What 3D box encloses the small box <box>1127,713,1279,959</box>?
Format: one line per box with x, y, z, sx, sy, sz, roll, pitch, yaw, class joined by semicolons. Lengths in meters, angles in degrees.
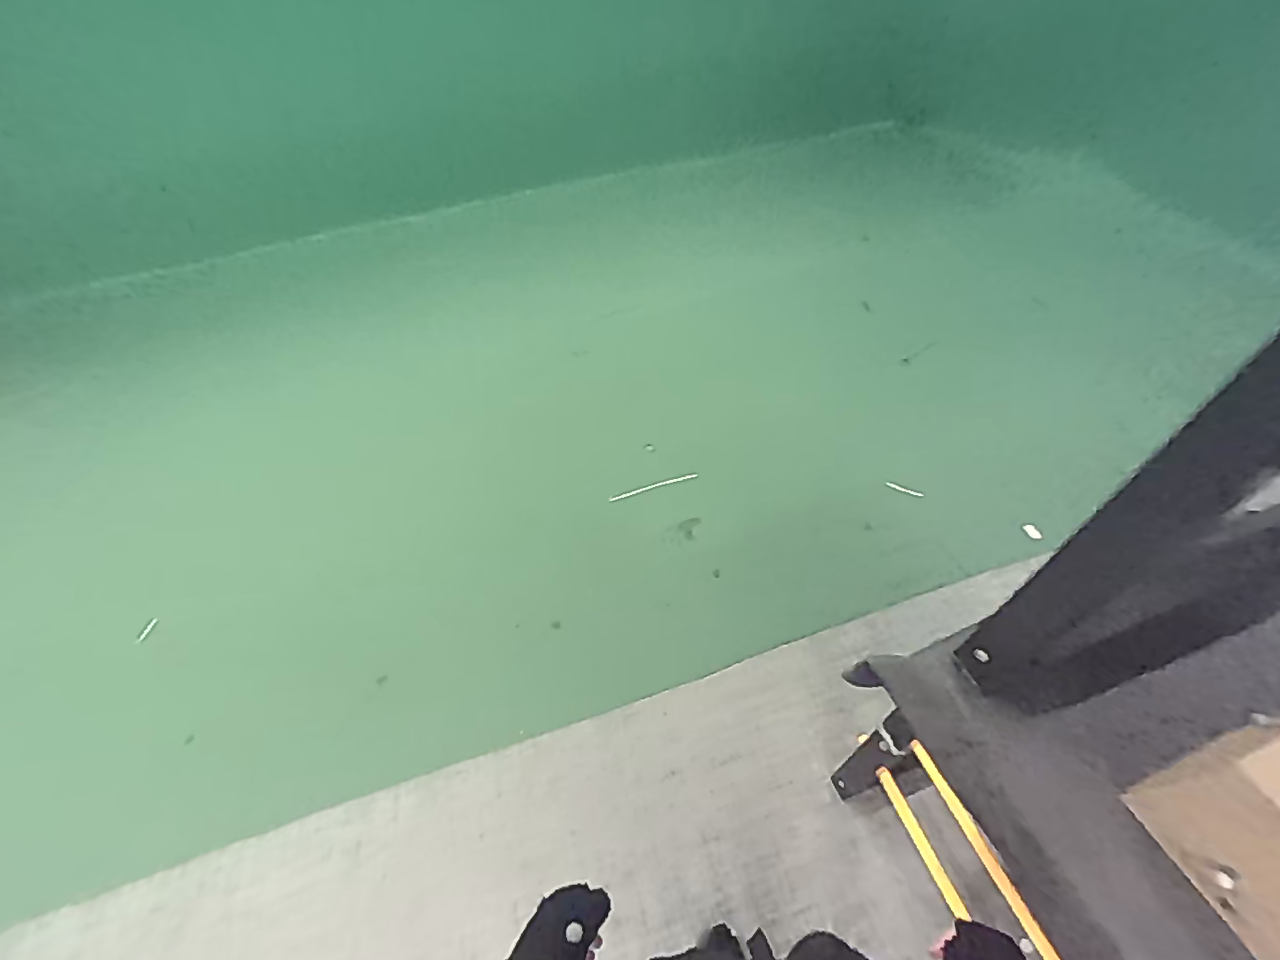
0.637;0.329;0.512;0.179;0.176;0.168;-19;52;-11;small box
